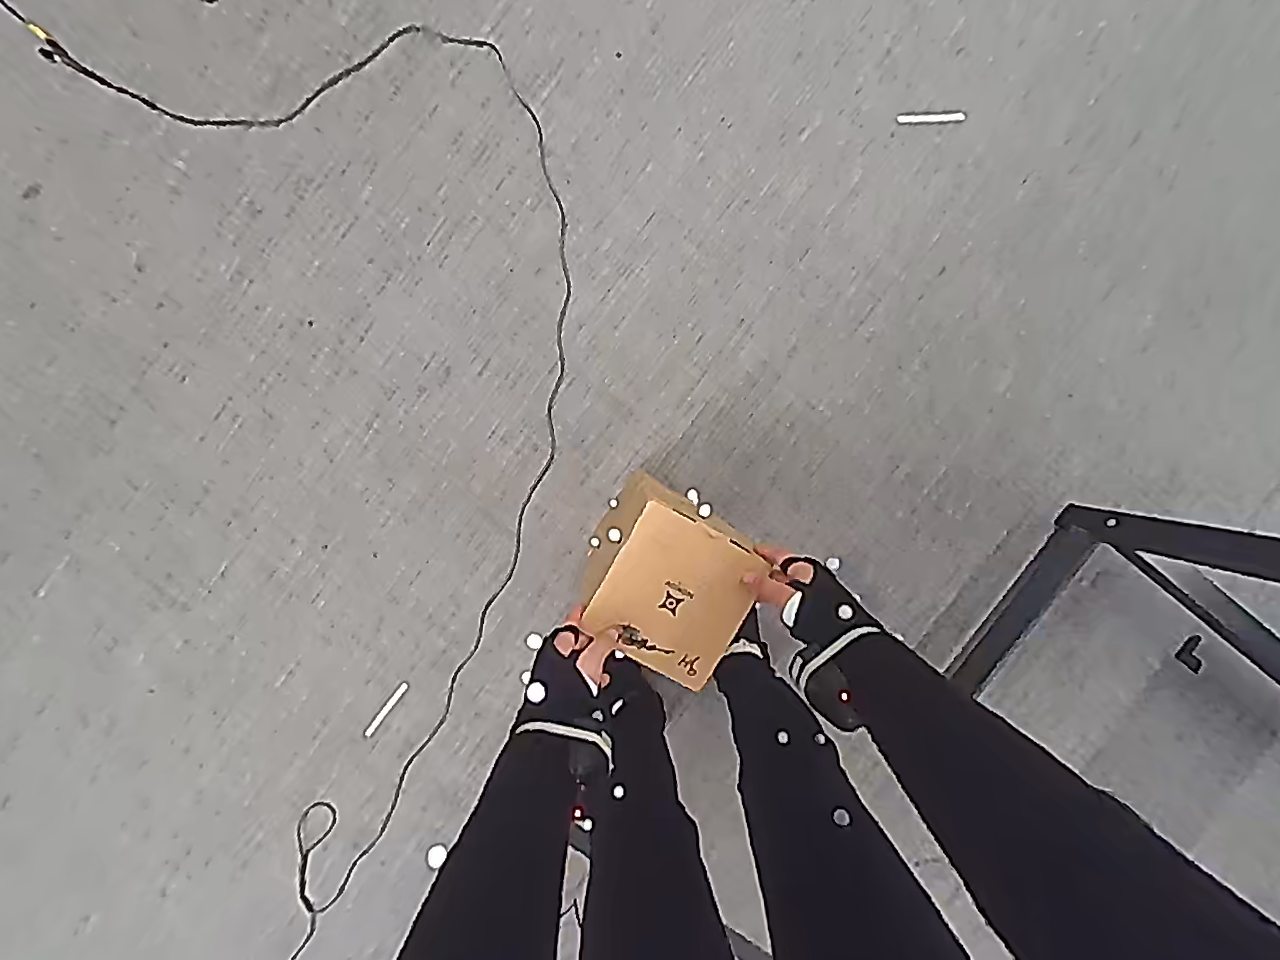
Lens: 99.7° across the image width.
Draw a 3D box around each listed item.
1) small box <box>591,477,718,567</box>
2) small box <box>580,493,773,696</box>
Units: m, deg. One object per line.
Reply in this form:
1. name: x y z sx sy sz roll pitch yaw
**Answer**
1. small box: 0.020 0.107 1.028 0.168 0.176 0.179 33 93 -5
2. small box: 0.037 0.130 0.694 0.168 0.176 0.179 29 93 -4
